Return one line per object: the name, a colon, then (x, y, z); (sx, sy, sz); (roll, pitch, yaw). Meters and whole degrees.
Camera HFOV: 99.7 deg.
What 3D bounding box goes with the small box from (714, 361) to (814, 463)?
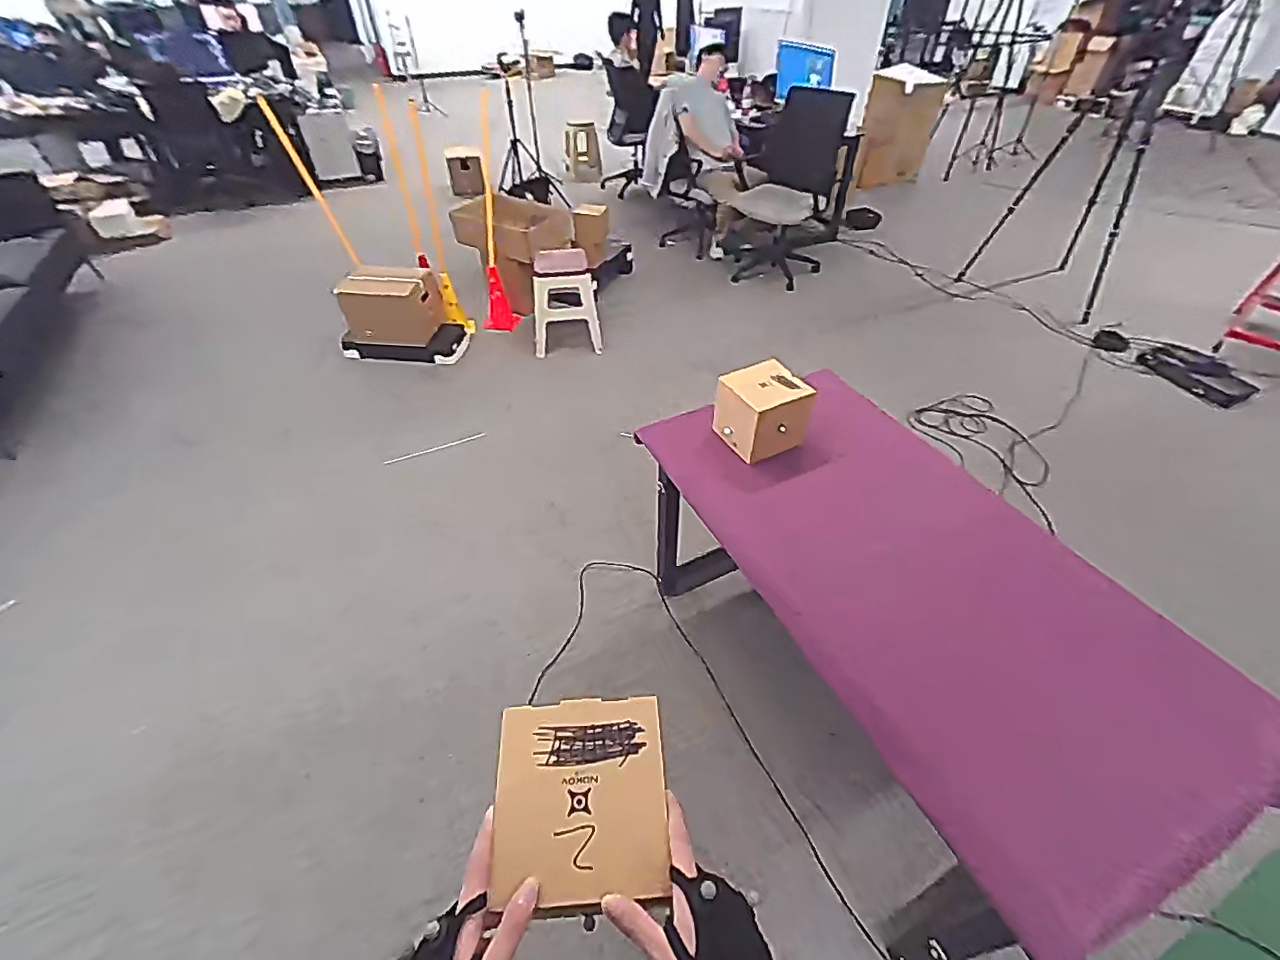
small box: (0.306, -0.171, 1.370); (0.179, 0.176, 0.168); (-21, 48, -19)
